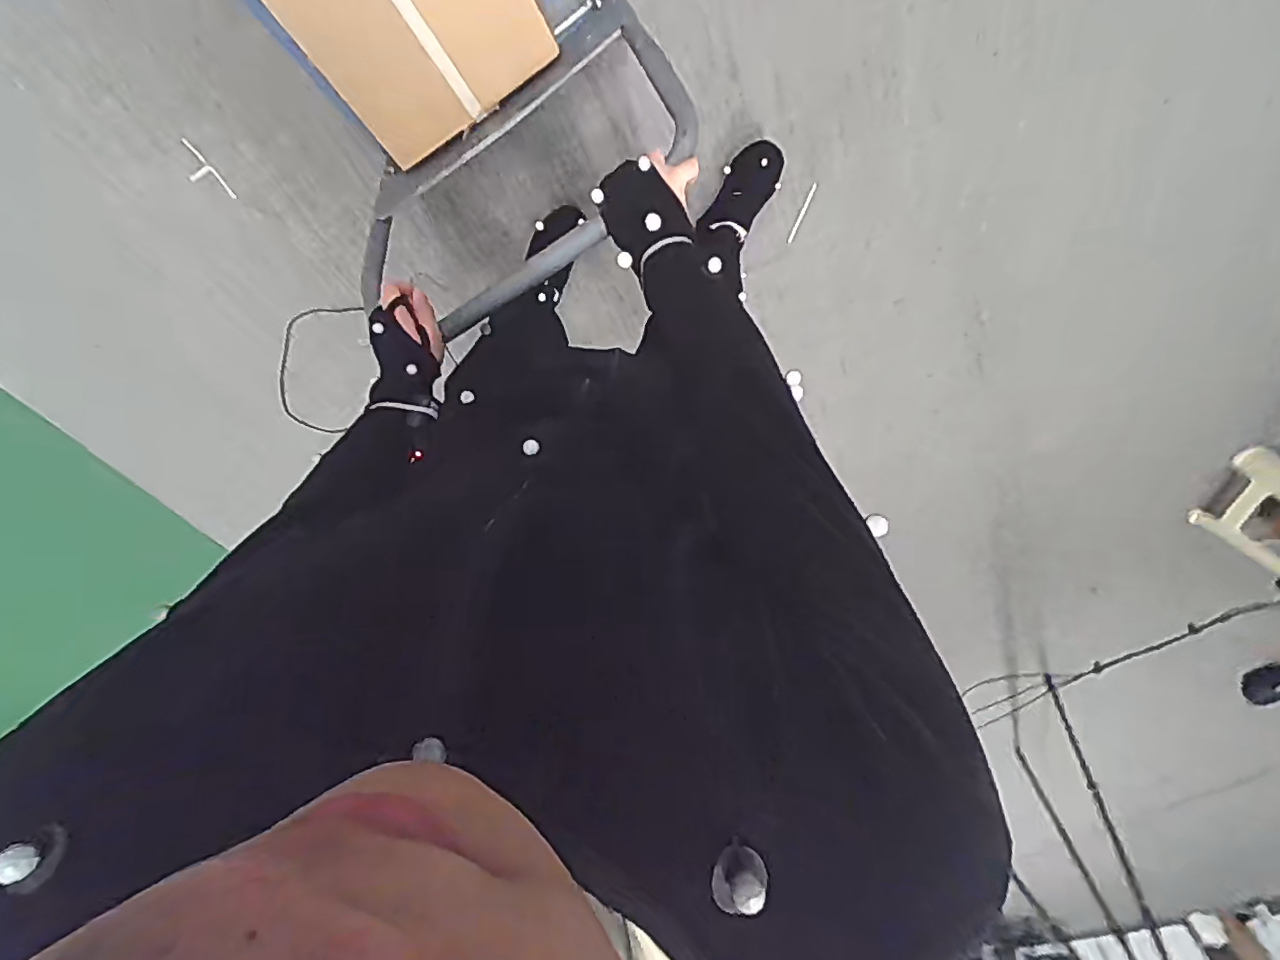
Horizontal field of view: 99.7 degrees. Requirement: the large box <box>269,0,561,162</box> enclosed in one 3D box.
[{"bbox_3d":[-0.360,-0.788,0.796,0.320,0.320,0.408,-27,137,16],"label":"large box"}]
